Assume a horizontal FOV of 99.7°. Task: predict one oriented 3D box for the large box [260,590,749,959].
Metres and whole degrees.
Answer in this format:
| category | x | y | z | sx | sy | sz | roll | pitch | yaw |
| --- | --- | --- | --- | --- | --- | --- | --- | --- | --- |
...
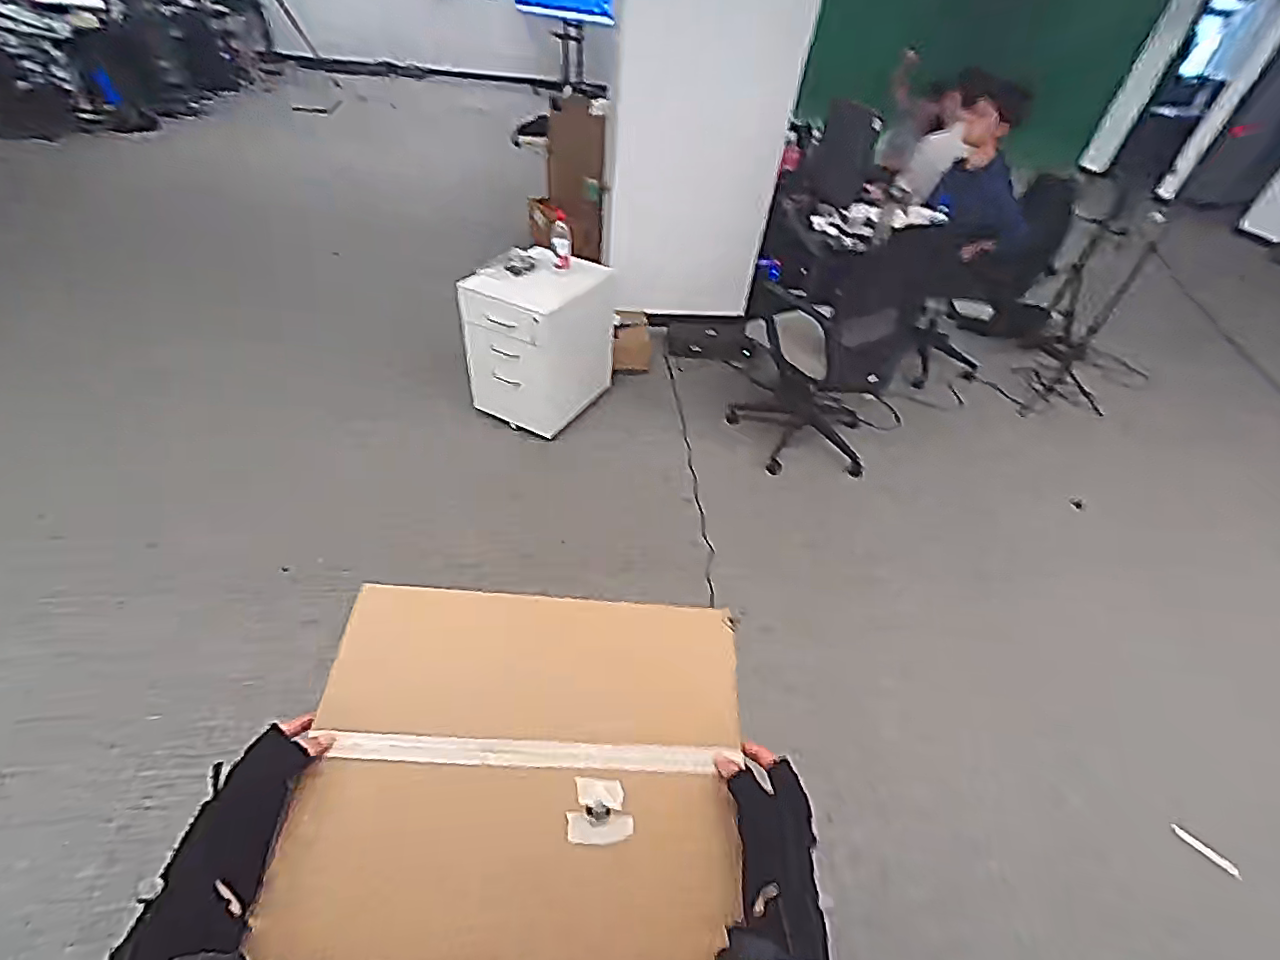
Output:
| category | x | y | z | sx | sy | sz | roll | pitch | yaw |
| --- | --- | --- | --- | --- | --- | --- | --- | --- | --- |
| large box | -0.120 | 0.349 | 0.645 | 0.408 | 0.320 | 0.320 | 6 | 55 | -5 |
